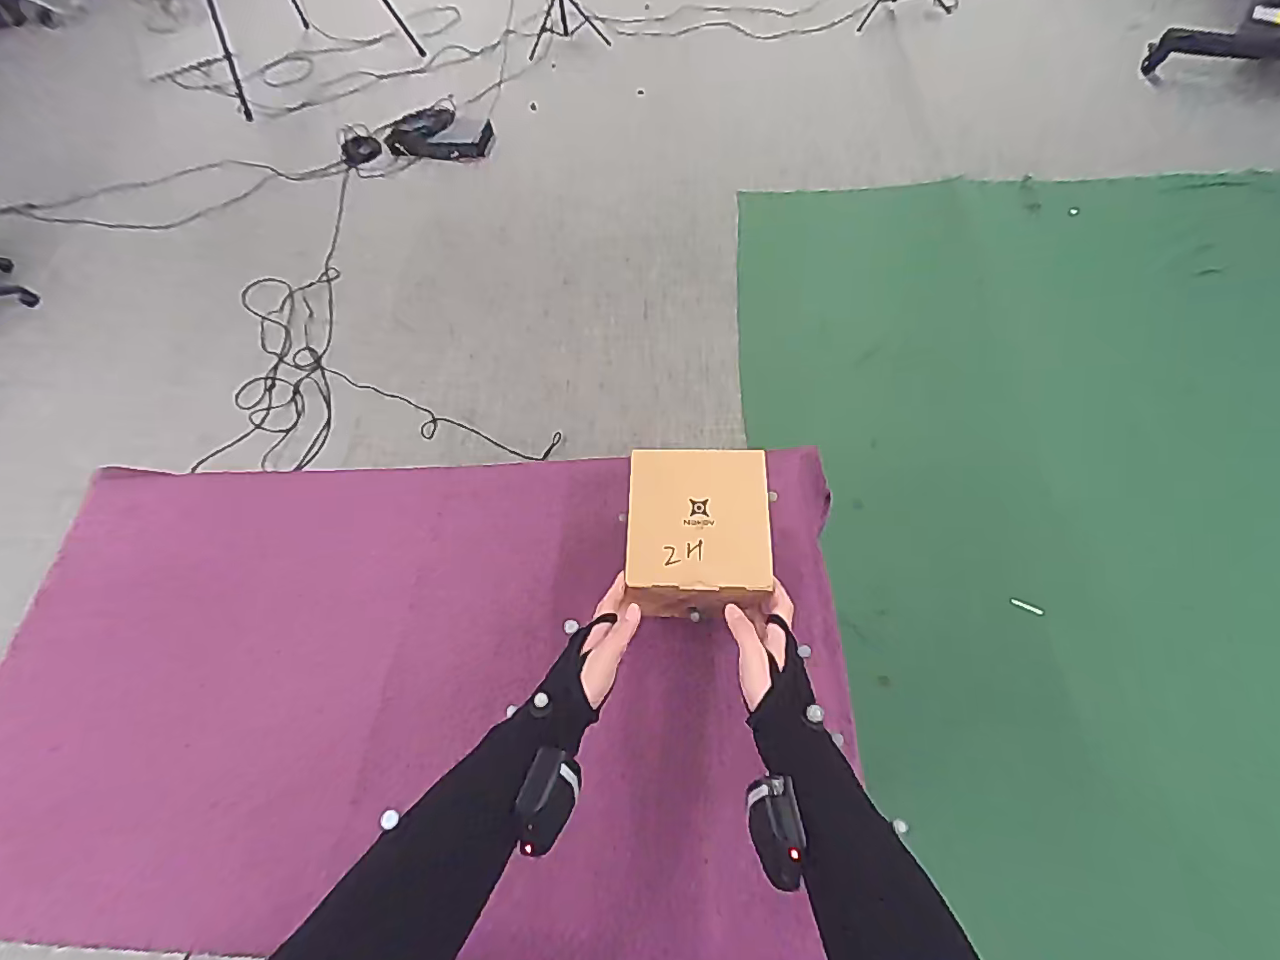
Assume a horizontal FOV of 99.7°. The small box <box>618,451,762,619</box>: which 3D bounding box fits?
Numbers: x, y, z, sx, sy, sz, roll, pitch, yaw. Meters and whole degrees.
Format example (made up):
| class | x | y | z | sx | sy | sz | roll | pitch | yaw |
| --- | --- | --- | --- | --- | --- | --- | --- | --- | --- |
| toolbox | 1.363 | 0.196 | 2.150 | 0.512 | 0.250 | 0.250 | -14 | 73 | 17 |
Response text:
| class | x | y | z | sx | sy | sz | roll | pitch | yaw |
| --- | --- | --- | --- | --- | --- | --- | --- | --- | --- |
| small box | 0.066 | 0.077 | 0.712 | 0.168 | 0.176 | 0.179 | 0 | 66 | 6 |
